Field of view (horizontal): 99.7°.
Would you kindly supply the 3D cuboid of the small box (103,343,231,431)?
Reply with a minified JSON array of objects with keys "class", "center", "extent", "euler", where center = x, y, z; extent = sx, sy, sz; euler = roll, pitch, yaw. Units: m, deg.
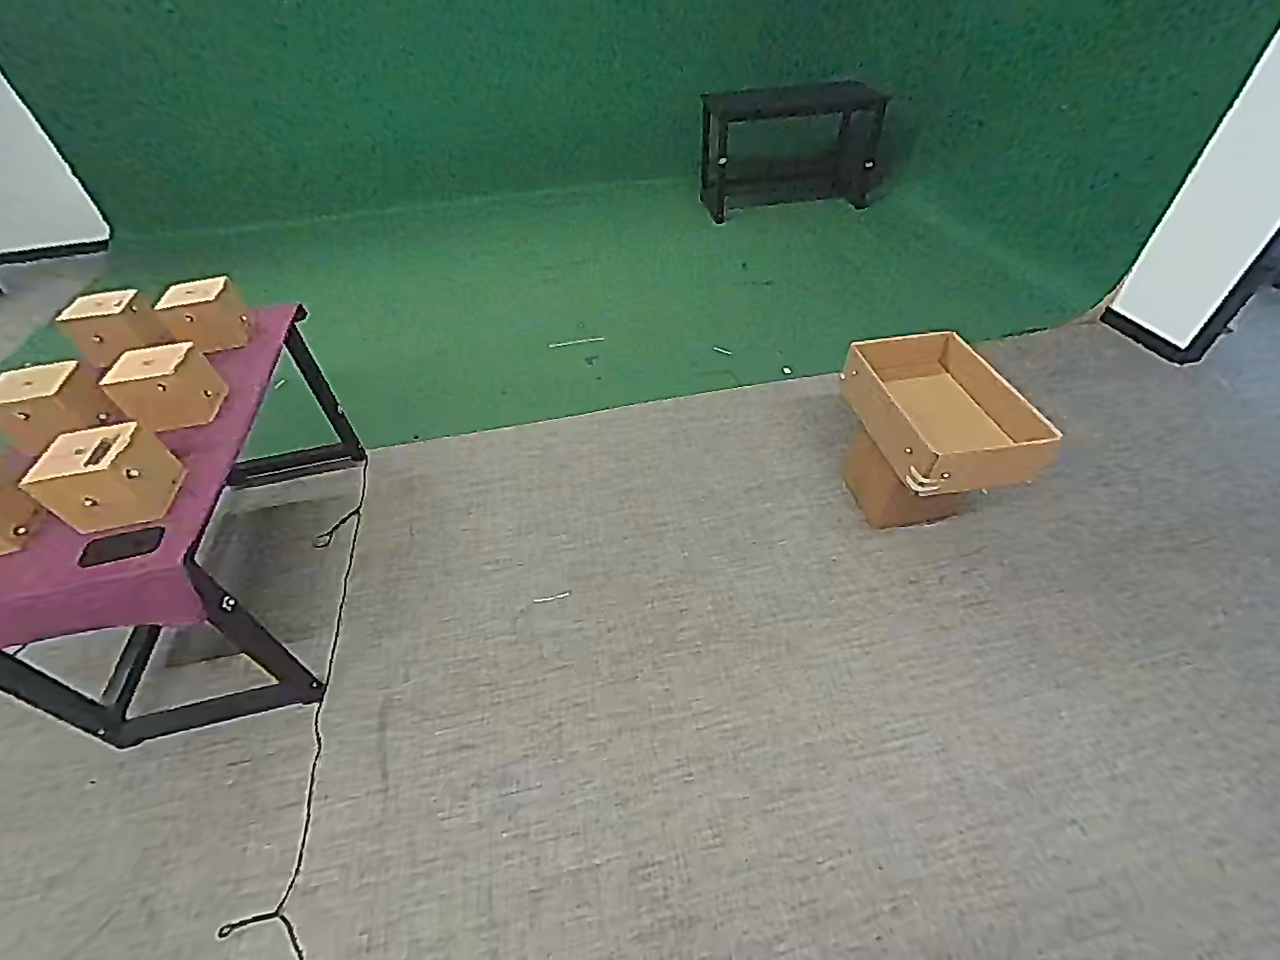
[{"class":"small box","center":[-1.289,-0.253,1.489],"extent":[0.179,0.176,0.168],"euler":[-10,45,-6]}]

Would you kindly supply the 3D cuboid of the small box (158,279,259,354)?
[{"class":"small box","center":[-1.398,-0.530,1.765],"extent":[0.179,0.176,0.168],"euler":[-13,47,-7]}]

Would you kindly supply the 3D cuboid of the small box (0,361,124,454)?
[{"class":"small box","center":[-1.558,-0.191,1.444],"extent":[0.179,0.176,0.168],"euler":[-13,47,-10]}]

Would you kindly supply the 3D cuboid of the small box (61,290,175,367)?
[{"class":"small box","center":[-1.668,-0.484,1.739],"extent":[0.179,0.176,0.168],"euler":[-13,47,-9]}]

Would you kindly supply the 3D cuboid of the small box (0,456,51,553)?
[{"class":"small box","center":[-1.480,0.063,1.185],"extent":[0.179,0.176,0.168],"euler":[-14,46,-10]}]
